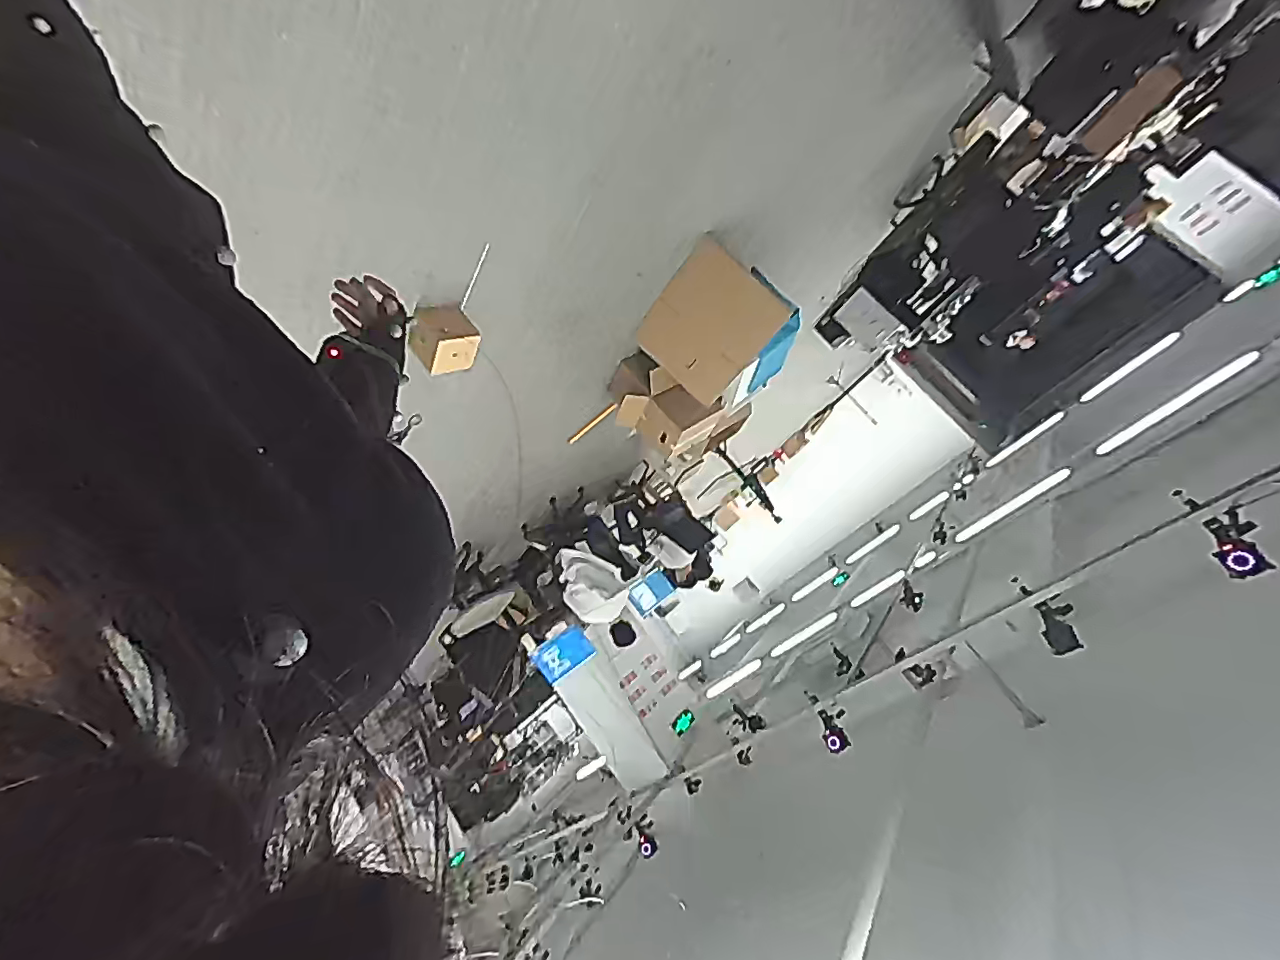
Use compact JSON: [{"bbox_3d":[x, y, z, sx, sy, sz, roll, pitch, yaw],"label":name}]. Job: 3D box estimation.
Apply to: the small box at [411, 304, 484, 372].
[{"bbox_3d":[-0.709,-0.523,1.978,0.179,0.176,0.168,-26,161,-44],"label":"small box"}]
